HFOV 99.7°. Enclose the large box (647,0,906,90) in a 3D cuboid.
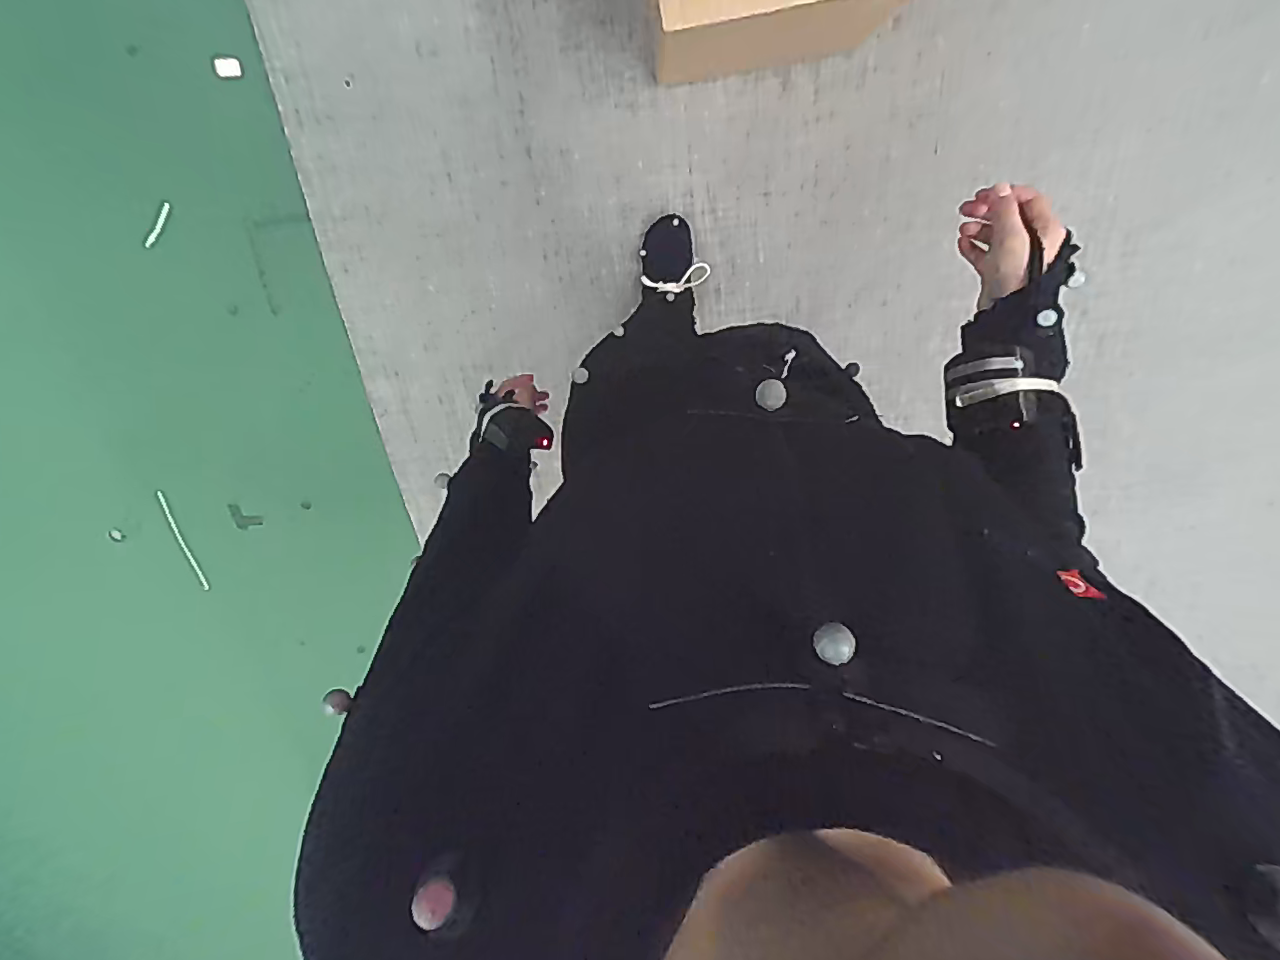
[{"bbox_3d":[0.205,-0.887,0.870,0.408,0.320,0.320,-9,113,3],"label":"large box"}]
